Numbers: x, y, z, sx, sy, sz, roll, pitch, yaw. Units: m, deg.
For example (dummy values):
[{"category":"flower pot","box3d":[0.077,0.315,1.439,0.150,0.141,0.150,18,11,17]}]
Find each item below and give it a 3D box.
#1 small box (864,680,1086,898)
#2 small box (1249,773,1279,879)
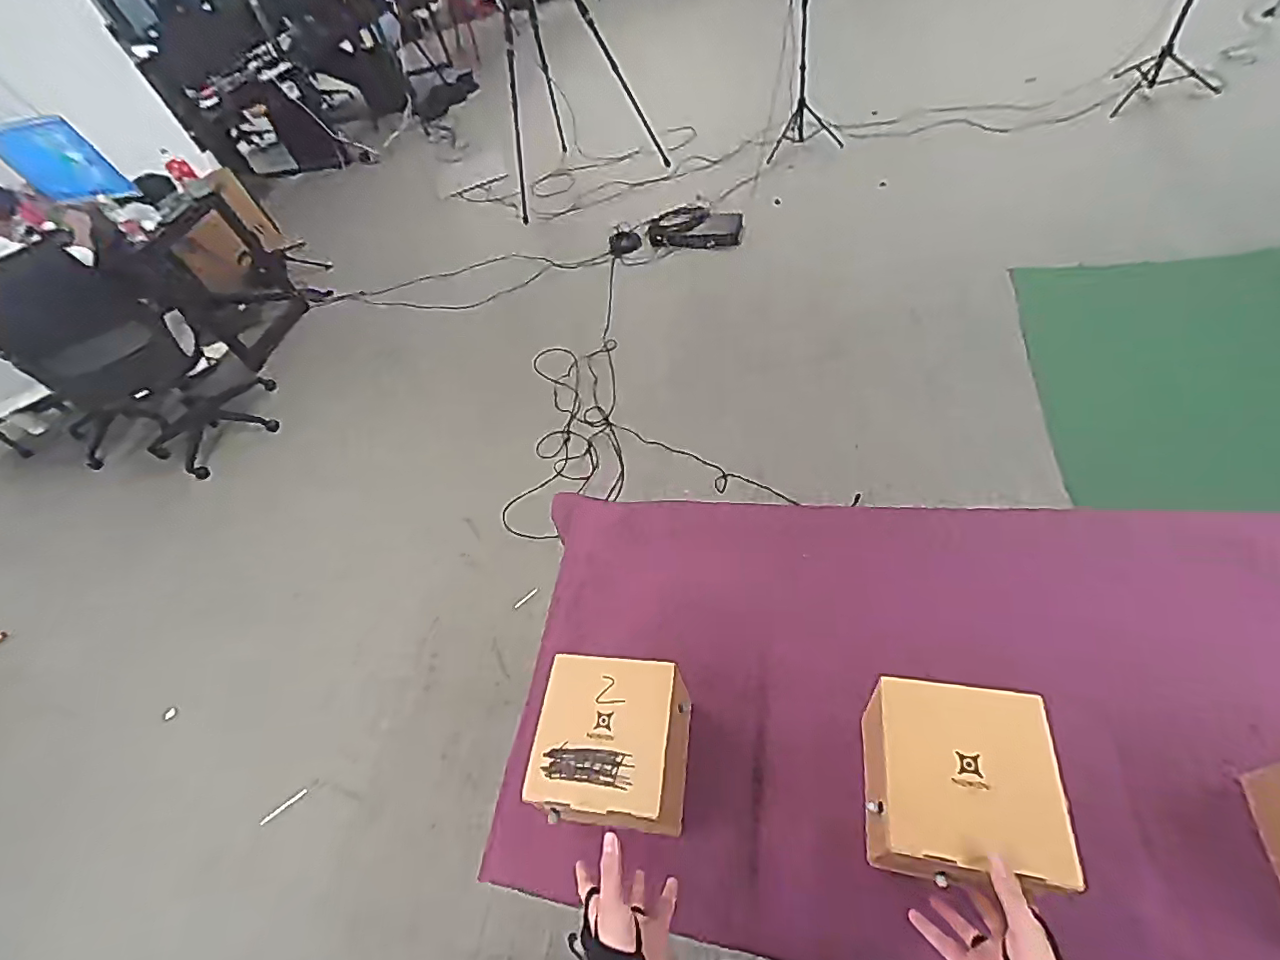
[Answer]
[{"category":"small box","box3d":[0.359,0.354,0.622,0.168,0.176,0.179,2,54,15]},{"category":"small box","box3d":[0.749,0.375,0.503,0.168,0.176,0.179,2,53,17]}]
